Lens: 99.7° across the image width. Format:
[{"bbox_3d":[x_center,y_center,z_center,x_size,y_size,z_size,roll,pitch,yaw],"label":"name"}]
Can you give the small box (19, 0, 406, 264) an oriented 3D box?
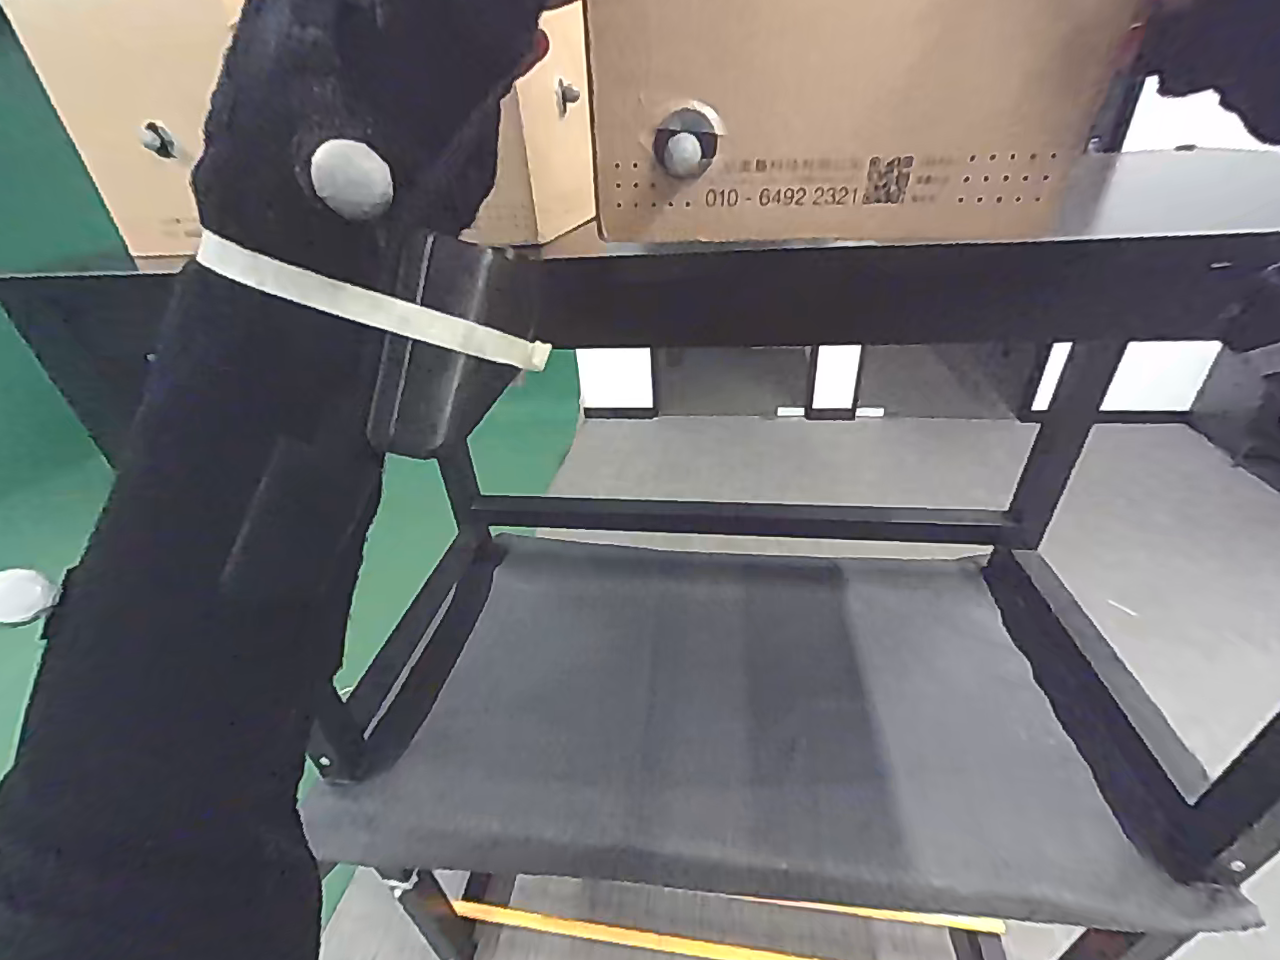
[{"bbox_3d":[-0.333,-0.290,0.472,0.168,0.176,0.179,2,32,9],"label":"small box"}]
